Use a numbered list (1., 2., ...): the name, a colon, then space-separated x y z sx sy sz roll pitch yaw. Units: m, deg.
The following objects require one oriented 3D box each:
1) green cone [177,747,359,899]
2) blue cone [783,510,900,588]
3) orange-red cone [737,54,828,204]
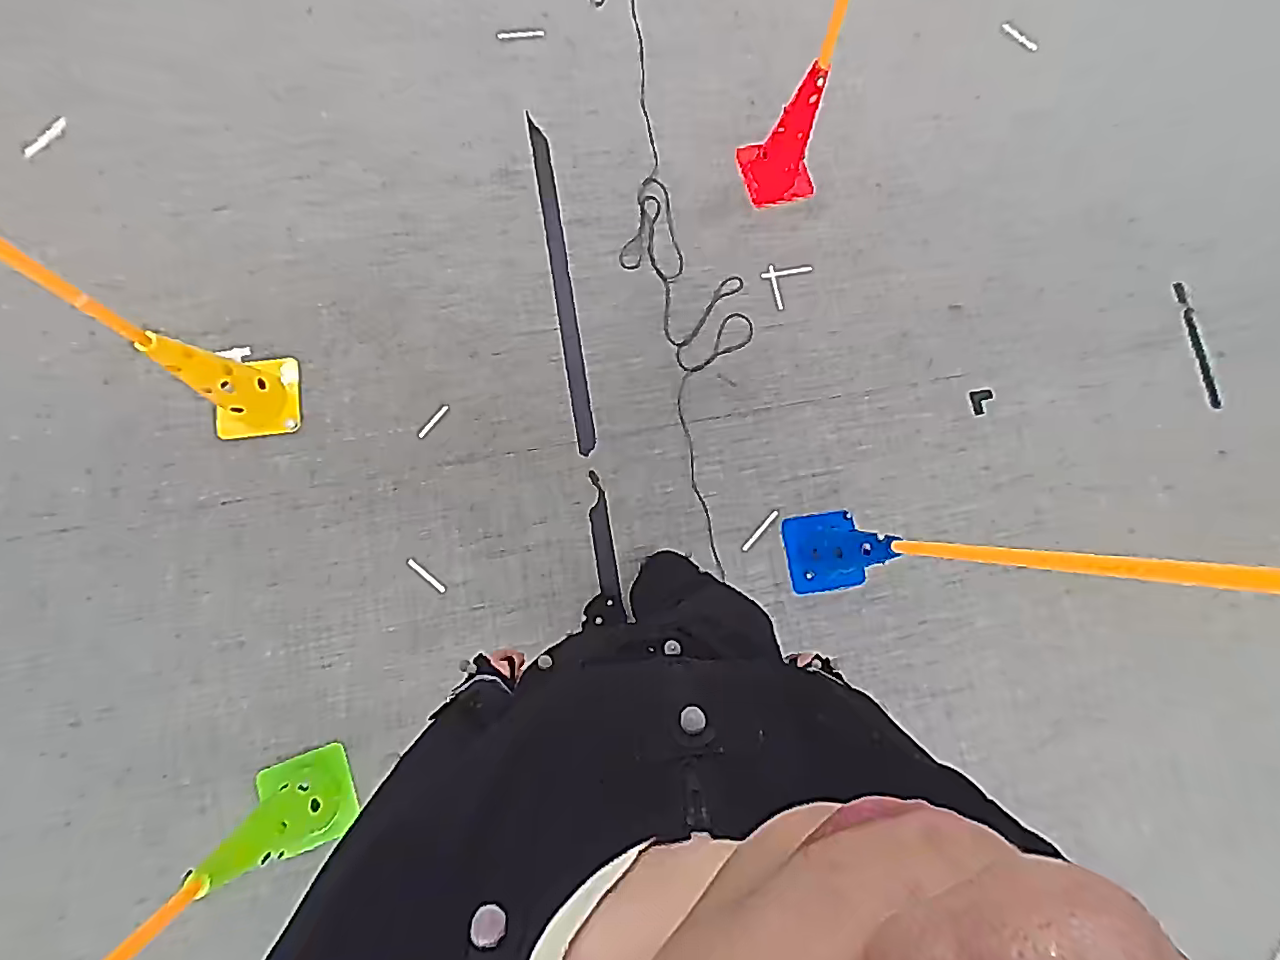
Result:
1. green cone: -0.741 0.701 1.056 0.200 0.368 0.202 -20 80 -8
2. blue cone: 0.492 0.152 1.259 0.193 0.380 0.192 -7 80 -6
3. orange-red cone: 0.409 -0.943 1.428 0.199 0.360 0.198 -15 81 -5
